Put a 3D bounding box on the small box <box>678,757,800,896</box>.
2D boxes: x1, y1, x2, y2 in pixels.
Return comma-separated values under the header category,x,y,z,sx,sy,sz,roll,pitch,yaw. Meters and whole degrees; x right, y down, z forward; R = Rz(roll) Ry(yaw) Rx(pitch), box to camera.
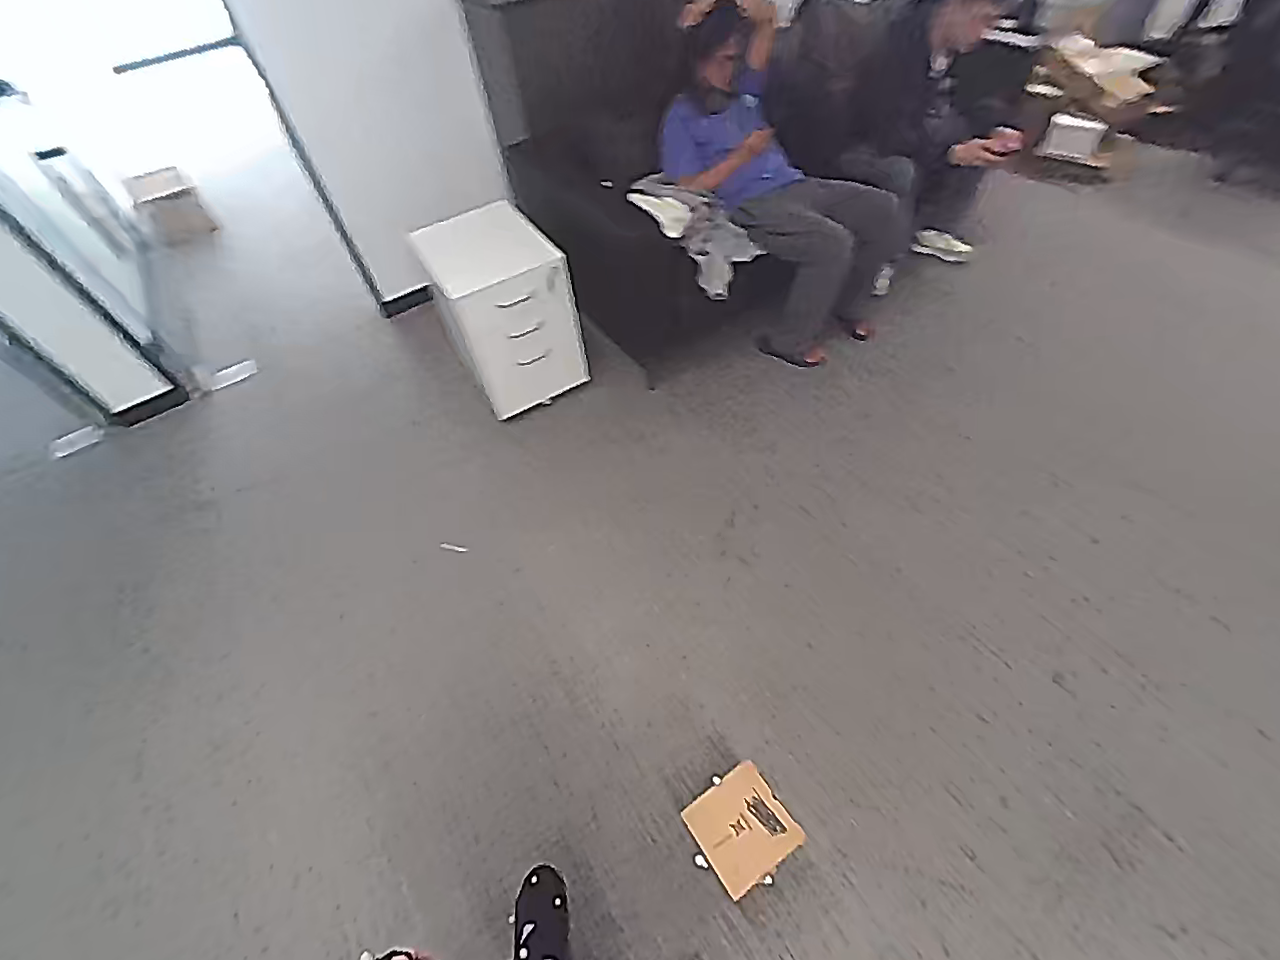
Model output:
category,x,y,z,sx,sy,sz,roll,pitch,yaw
small box,0.189,0.698,1.090,0.179,0.176,0.168,-26,53,-16
